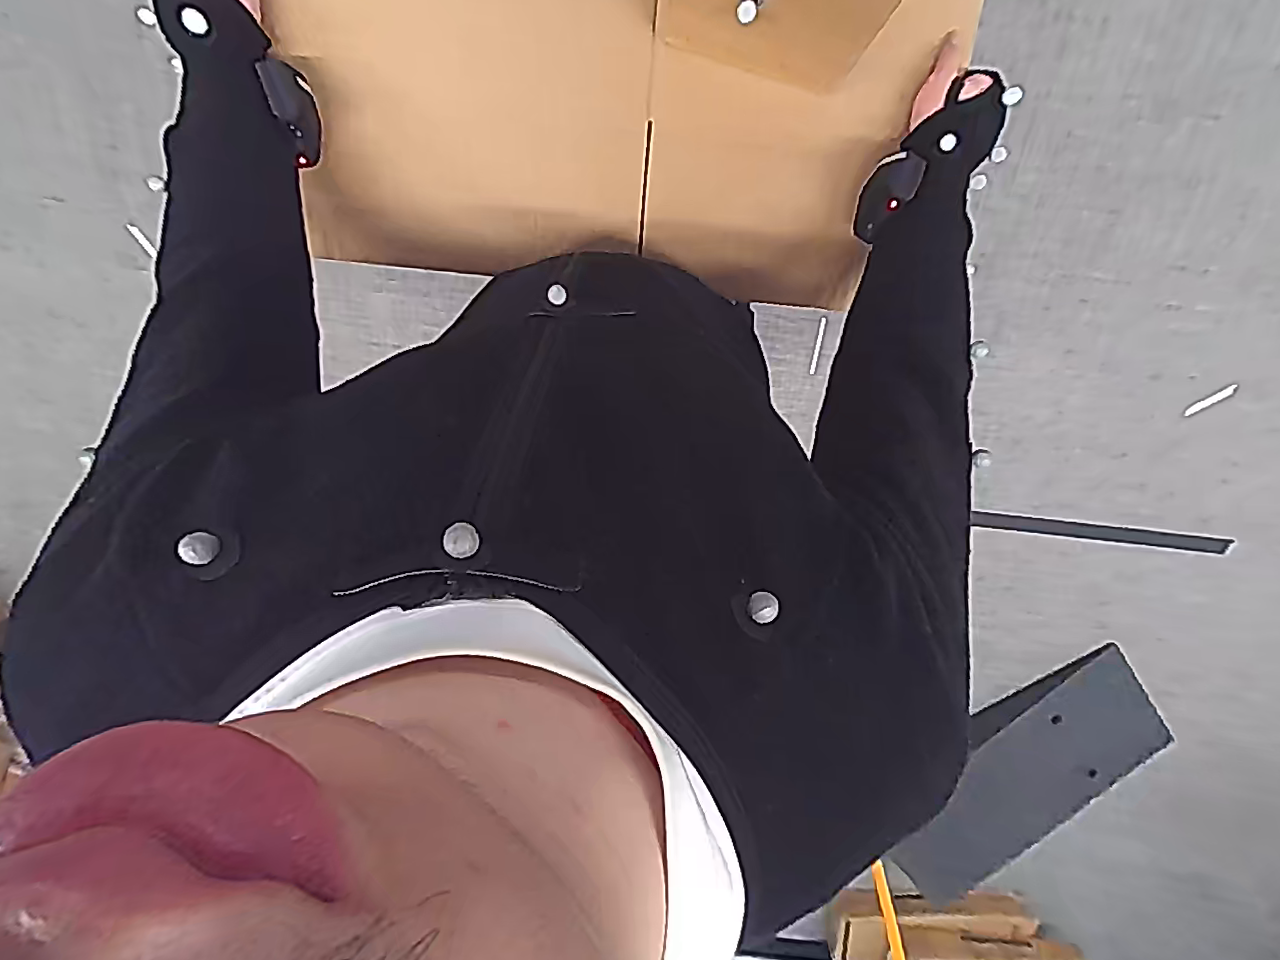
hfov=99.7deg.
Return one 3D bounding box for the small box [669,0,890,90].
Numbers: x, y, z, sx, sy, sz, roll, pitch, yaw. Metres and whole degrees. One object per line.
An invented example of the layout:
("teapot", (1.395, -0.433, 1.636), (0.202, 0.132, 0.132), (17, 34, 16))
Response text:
("small box", (0.125, -0.450, 0.426), (0.179, 0.176, 0.168), (16, 105, -2))
